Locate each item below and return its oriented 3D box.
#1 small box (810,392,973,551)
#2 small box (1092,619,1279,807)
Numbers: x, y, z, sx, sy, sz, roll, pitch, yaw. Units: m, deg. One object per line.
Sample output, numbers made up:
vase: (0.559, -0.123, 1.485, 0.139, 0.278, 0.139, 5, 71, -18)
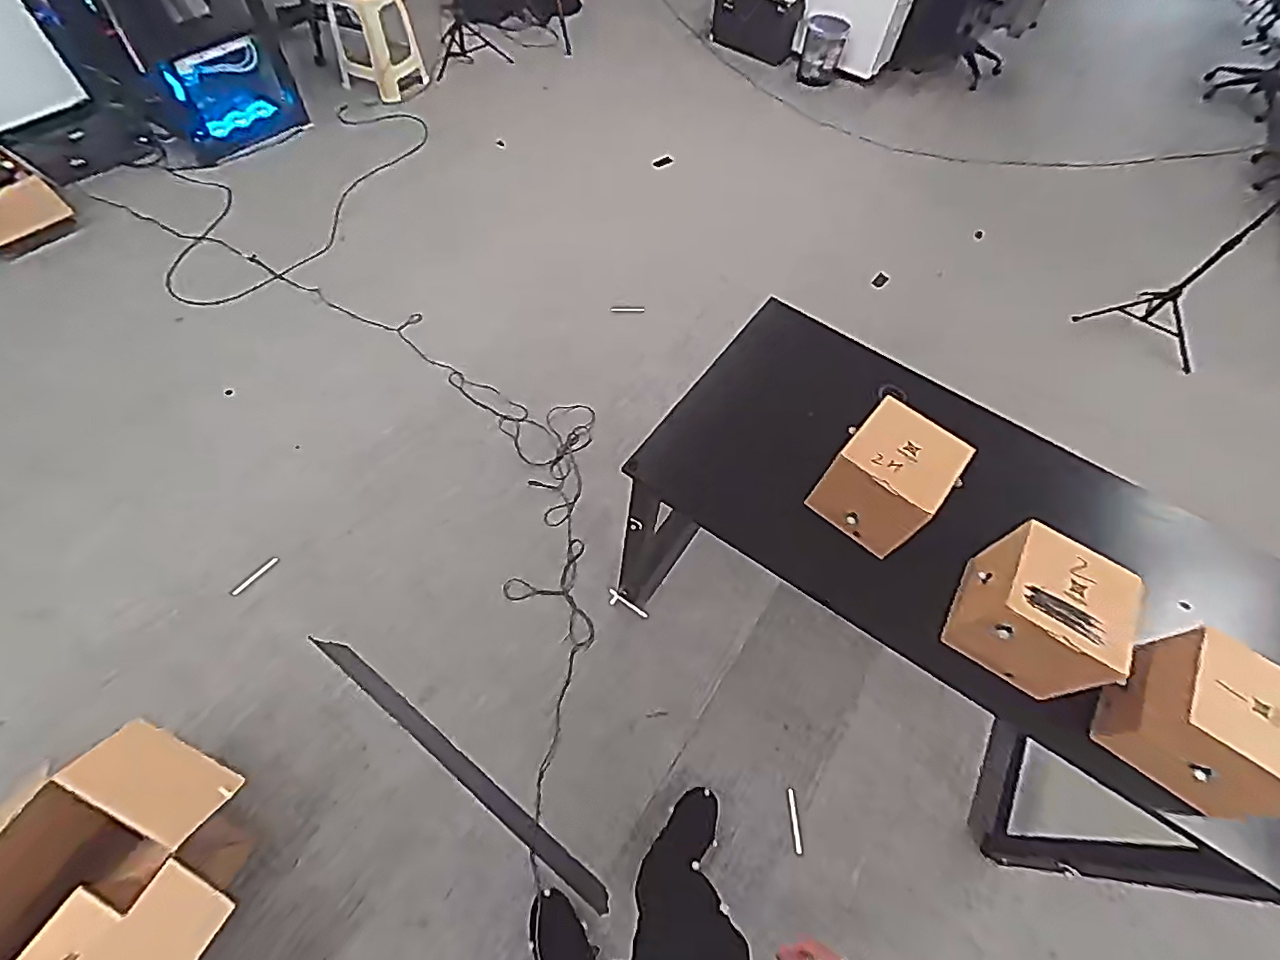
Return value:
small box: (0.423, -0.012, 0.938, 0.168, 0.176, 0.179, 38, 63, 17)
small box: (0.807, 0.333, 0.766, 0.179, 0.176, 0.168, 34, 62, 16)
